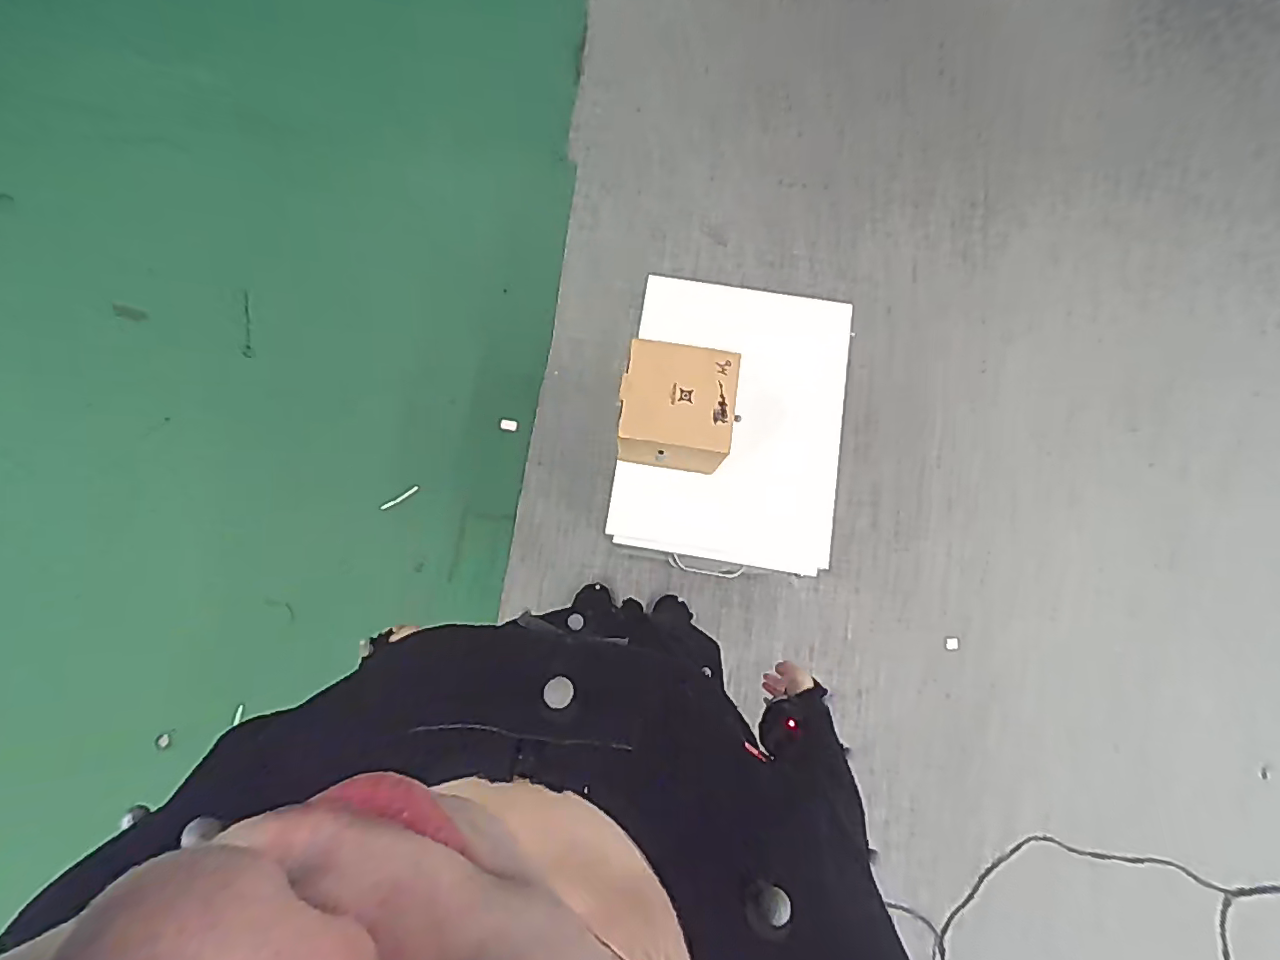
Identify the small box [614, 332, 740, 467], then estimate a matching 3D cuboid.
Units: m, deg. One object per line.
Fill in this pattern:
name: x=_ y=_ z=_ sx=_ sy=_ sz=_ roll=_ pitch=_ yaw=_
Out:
small box: x=0.057 y=-0.125 z=0.902 sx=0.179 sy=0.176 sz=0.168 roll=8 pitch=80 yaw=0
